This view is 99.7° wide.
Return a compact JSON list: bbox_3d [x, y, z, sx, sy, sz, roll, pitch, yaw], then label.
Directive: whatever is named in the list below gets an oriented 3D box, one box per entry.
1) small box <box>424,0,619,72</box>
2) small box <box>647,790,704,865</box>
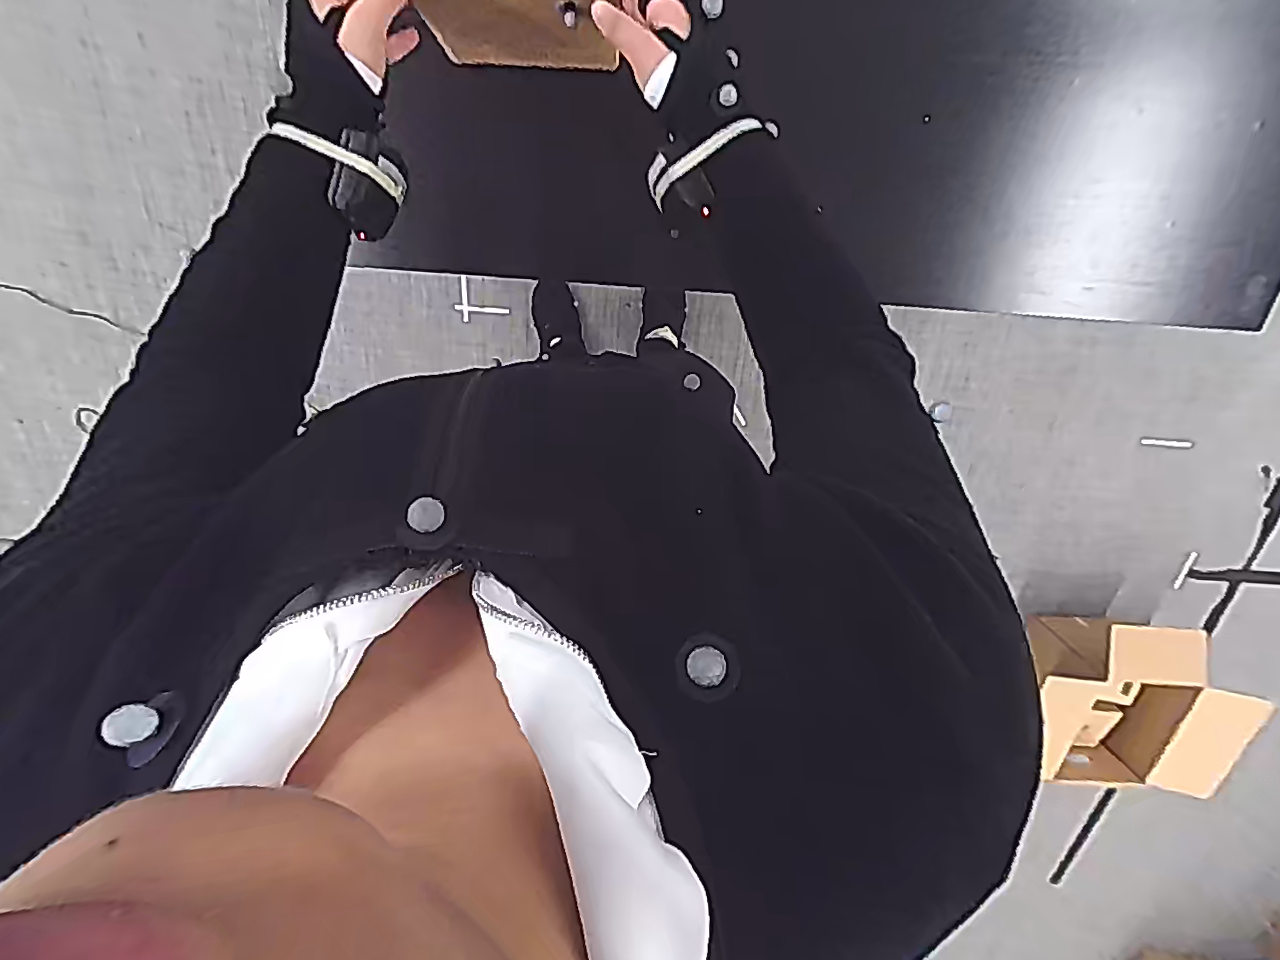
[{"bbox_3d":[-0.105,-0.486,0.473,0.179,0.176,0.168,0,109,-5],"label":"small box"},{"bbox_3d":[0.126,1.271,1.984,0.179,0.176,0.168,8,110,-4],"label":"small box"}]
